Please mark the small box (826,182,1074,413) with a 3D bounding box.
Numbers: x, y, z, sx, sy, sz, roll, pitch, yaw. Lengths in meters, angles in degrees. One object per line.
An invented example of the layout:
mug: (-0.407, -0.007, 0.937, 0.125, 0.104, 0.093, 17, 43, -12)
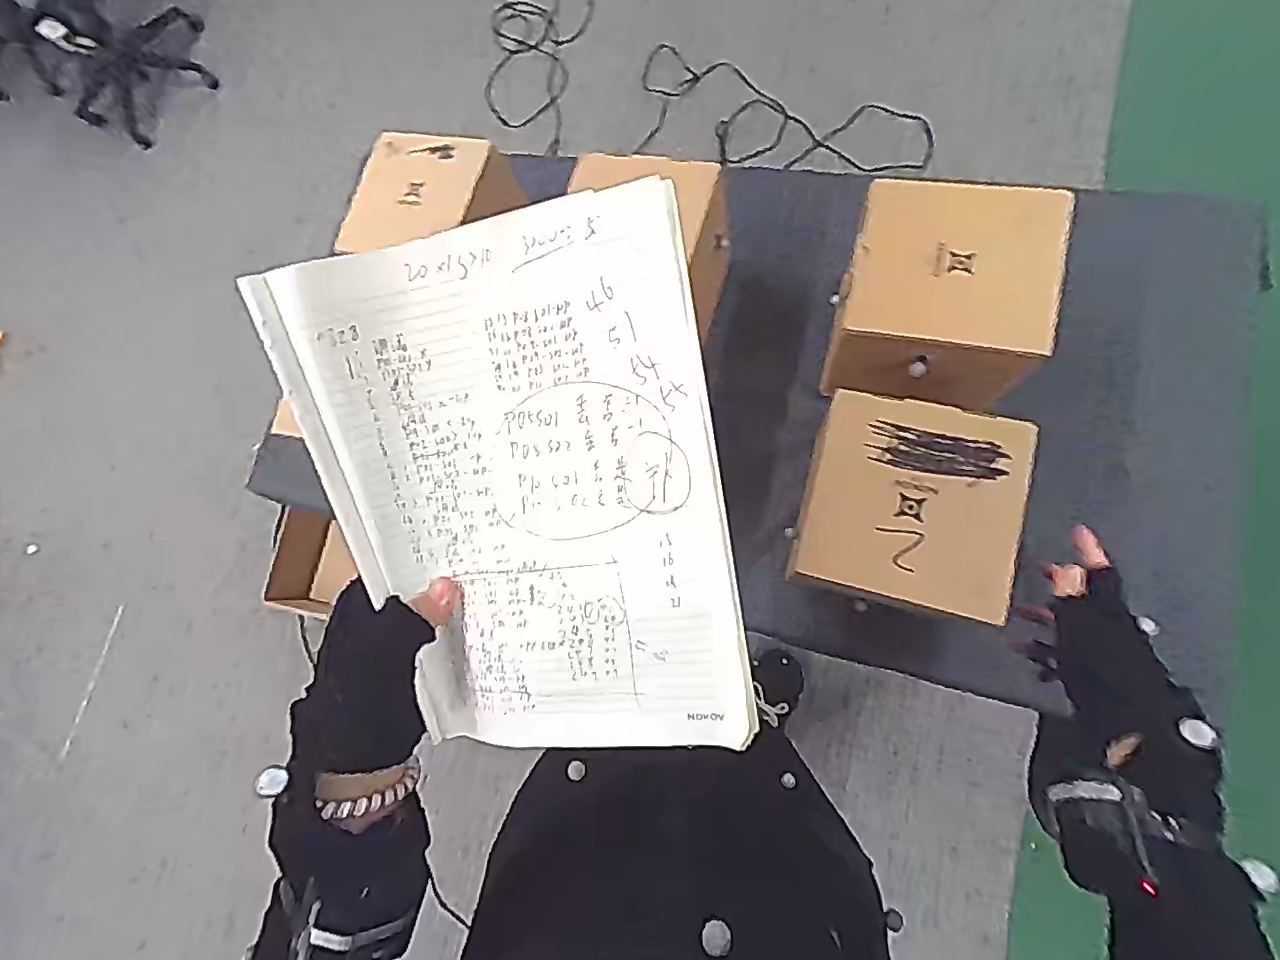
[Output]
small box: (0.310, -0.182, 0.577, 0.179, 0.176, 0.168, 12, 80, 16)
